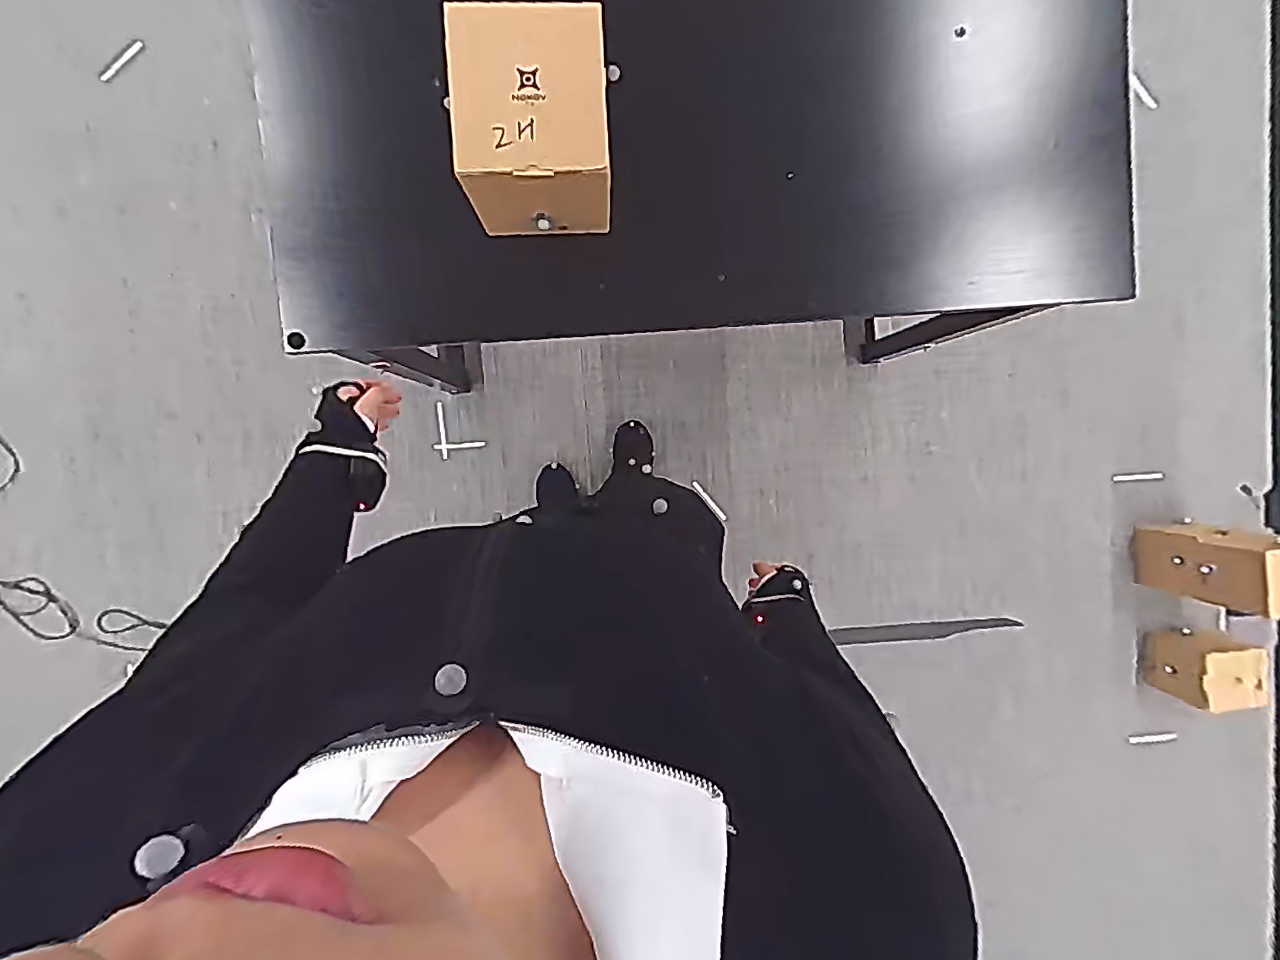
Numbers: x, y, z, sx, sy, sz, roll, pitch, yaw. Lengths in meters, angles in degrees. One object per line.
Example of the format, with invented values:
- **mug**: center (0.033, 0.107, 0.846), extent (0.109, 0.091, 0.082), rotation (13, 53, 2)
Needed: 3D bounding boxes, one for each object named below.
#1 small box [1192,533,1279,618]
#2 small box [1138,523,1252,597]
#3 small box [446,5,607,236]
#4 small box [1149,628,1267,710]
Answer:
- **small box**: center (1.555, 0.232, 1.354), extent (0.179, 0.176, 0.168), rotation (-8, 92, -1)
- **small box**: center (1.549, 0.218, 1.516), extent (0.168, 0.176, 0.179), rotation (-6, 94, -3)
- **small box**: center (-0.125, -0.418, 0.654), extent (0.168, 0.176, 0.179), rotation (-3, 93, -3)
- **small box**: center (1.607, 0.532, 1.540), extent (0.179, 0.176, 0.168), rotation (-4, 94, -2)
